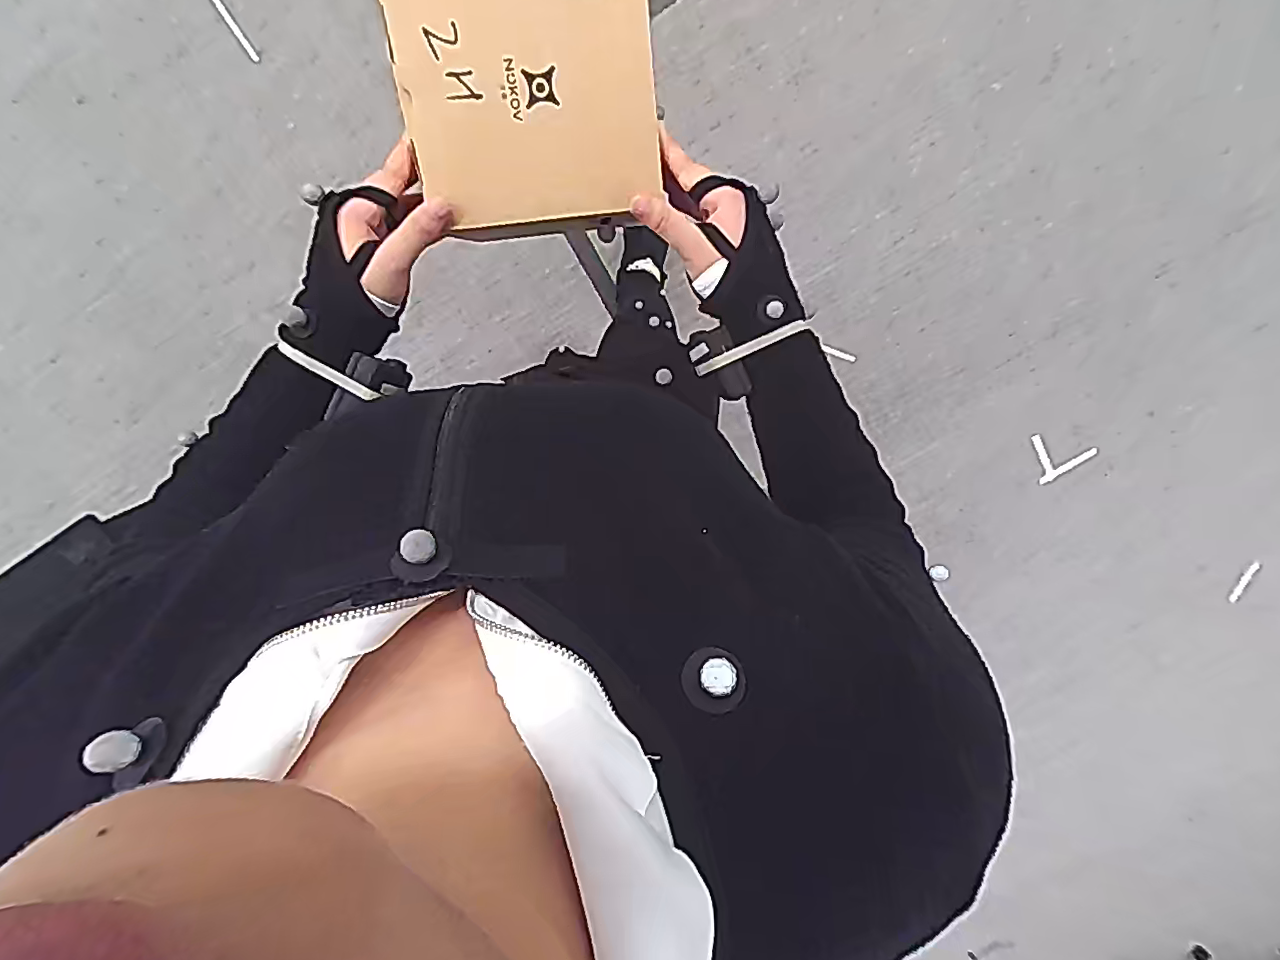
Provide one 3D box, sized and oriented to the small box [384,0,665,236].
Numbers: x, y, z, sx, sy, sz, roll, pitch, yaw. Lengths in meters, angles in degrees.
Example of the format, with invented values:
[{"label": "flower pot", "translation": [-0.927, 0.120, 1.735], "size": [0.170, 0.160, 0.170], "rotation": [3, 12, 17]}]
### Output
[{"label": "small box", "translation": [-0.080, -0.300, 0.444], "size": [0.179, 0.176, 0.168], "rotation": [-7, 111, -1]}]
